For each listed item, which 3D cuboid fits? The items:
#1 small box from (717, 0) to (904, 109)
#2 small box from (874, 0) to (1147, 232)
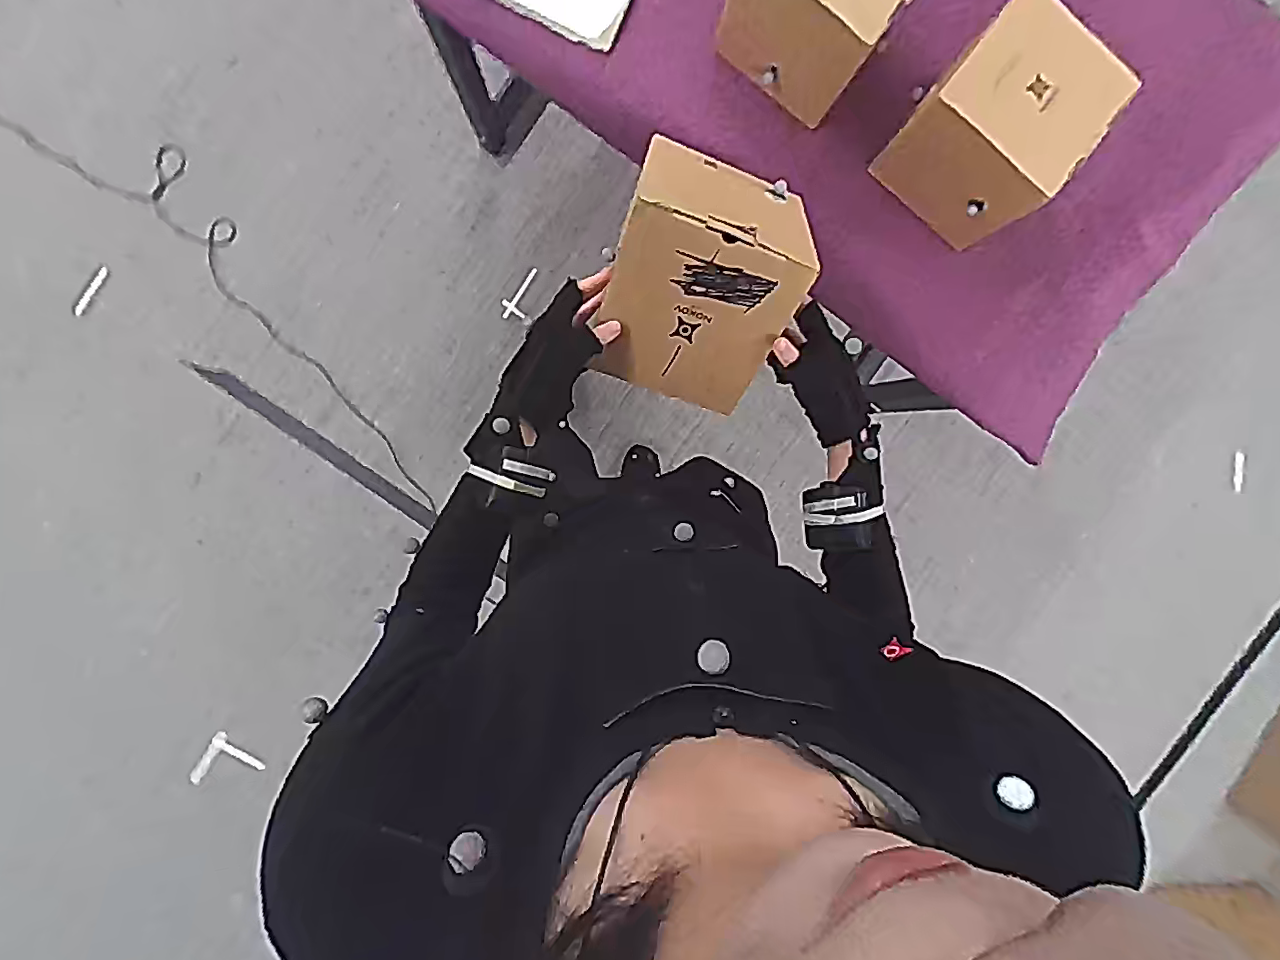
[{"bbox_3d":[0.217,-0.587,0.637,0.179,0.176,0.168,34,92,-6],"label":"small box"},{"bbox_3d":[0.434,-0.437,0.664,0.179,0.176,0.168,38,90,-4],"label":"small box"}]
